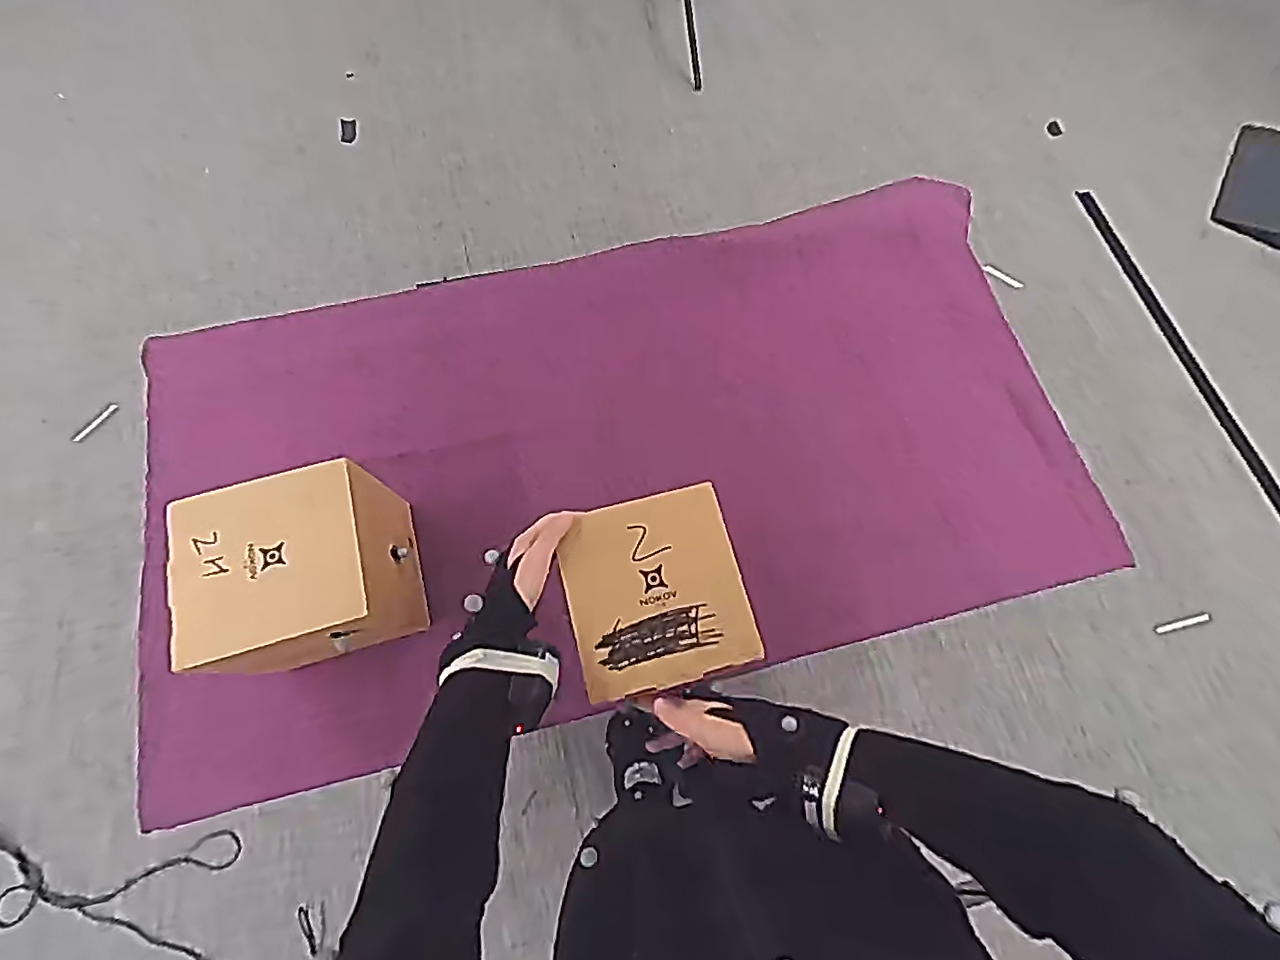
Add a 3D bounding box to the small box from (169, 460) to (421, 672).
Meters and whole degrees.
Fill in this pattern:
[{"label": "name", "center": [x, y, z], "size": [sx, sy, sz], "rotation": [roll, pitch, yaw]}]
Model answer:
[{"label": "small box", "center": [-0.355, 0.099, 0.587], "size": [0.179, 0.176, 0.168], "rotation": [-16, 72, -6]}]
